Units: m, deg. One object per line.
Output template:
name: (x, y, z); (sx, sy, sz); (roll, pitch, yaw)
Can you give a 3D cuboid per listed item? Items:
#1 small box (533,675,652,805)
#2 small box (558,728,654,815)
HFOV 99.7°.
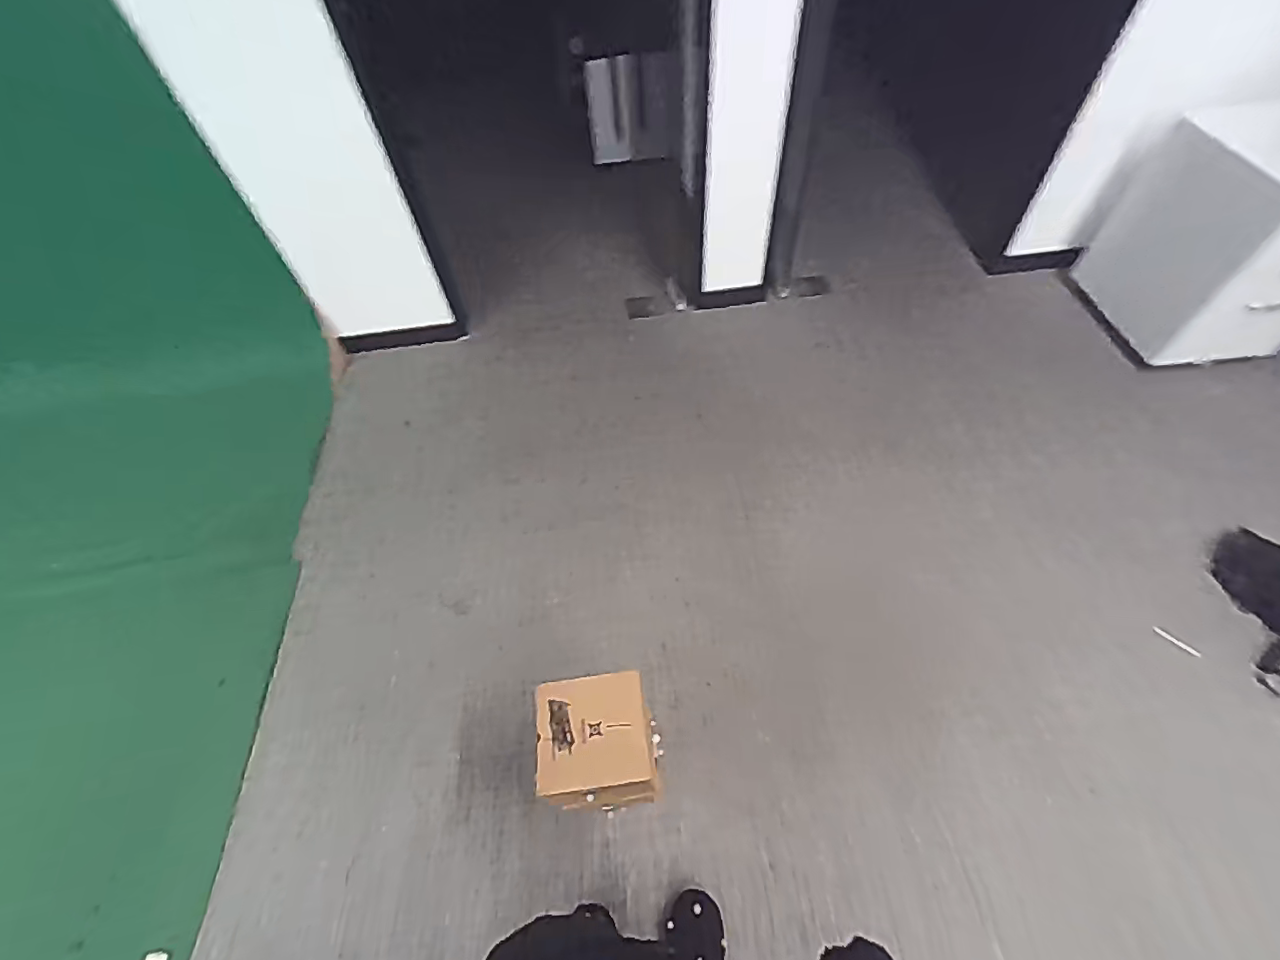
small box: (-0.079, 0.452, 0.932); (0.179, 0.176, 0.168); (-8, 55, 0)
small box: (-0.067, 0.536, 1.053); (0.168, 0.176, 0.179); (-9, 56, 0)
